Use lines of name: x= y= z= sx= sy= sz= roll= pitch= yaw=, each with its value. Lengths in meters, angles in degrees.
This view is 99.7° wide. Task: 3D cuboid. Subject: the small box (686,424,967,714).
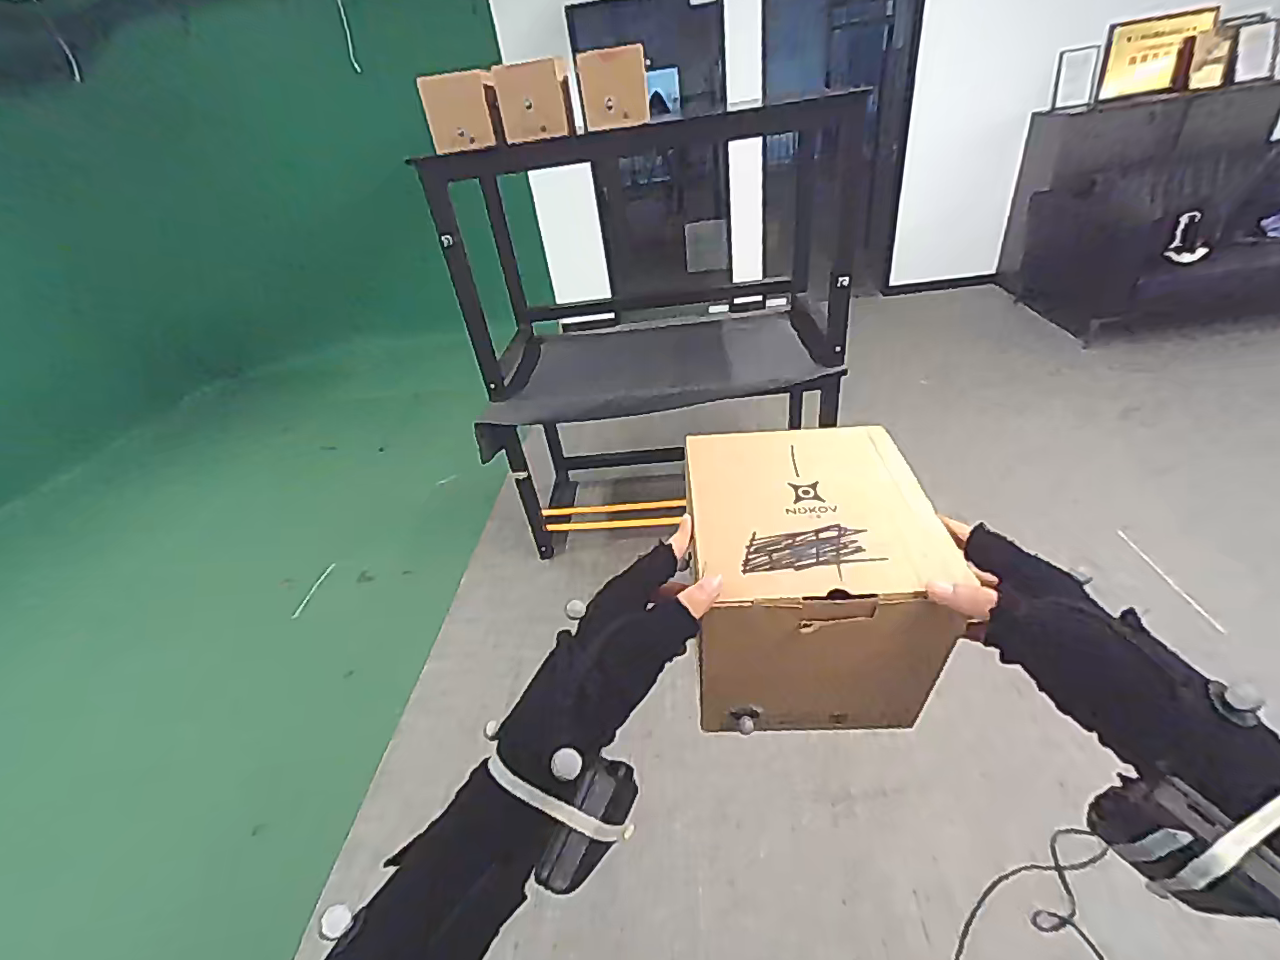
small box: x=0.126 y=0.075 z=0.444 sx=0.168 sy=0.176 sz=0.179 roll=-3 pitch=38 yaw=3
